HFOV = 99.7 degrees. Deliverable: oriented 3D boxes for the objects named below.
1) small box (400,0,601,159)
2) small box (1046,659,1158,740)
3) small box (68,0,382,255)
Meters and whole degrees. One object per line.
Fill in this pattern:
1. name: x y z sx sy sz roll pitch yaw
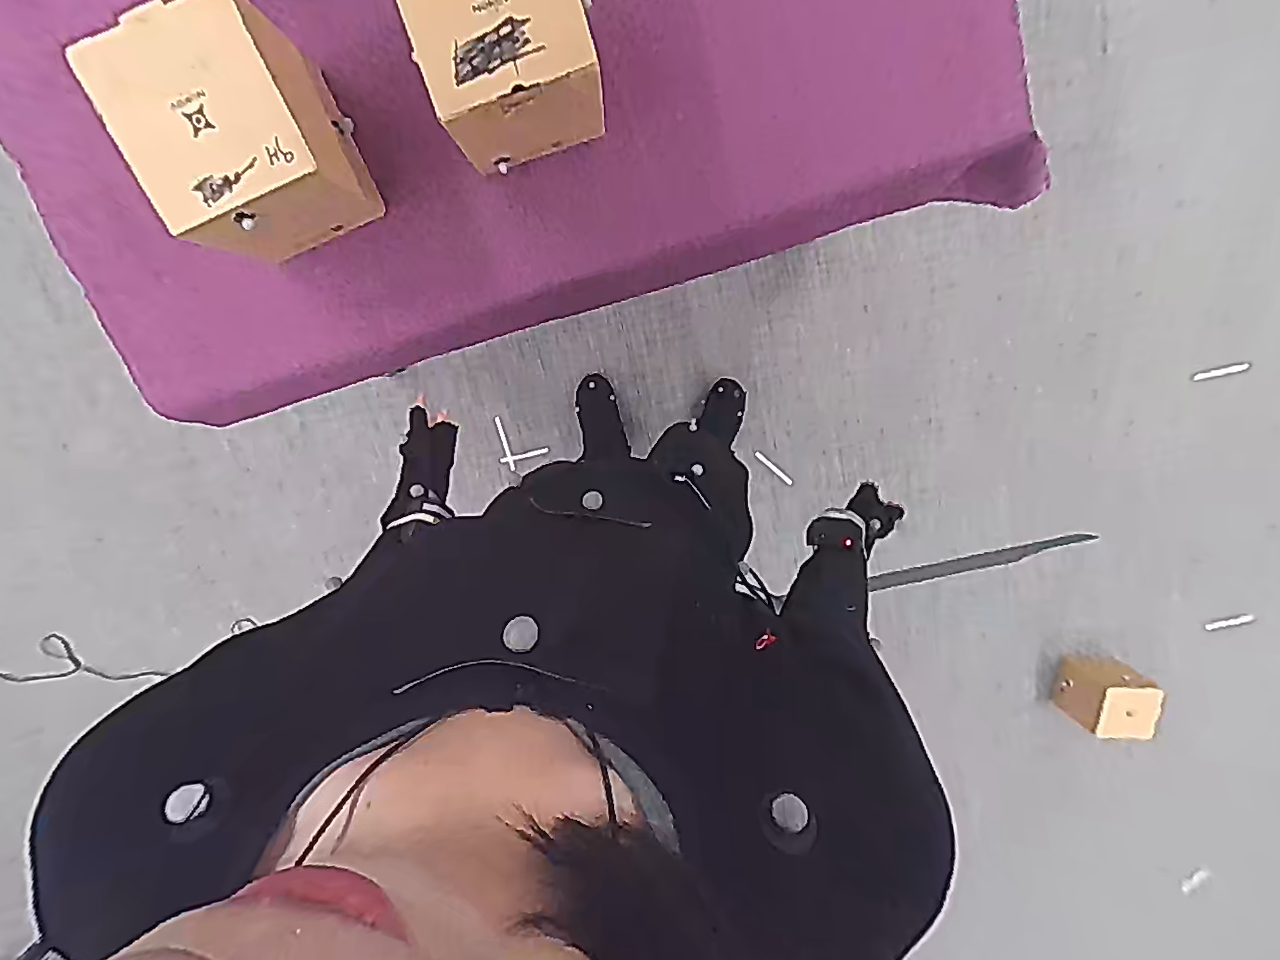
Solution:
1. small box: -0.143 -0.472 0.576 0.168 0.176 0.179 -17 102 1
2. small box: 1.399 0.663 1.647 0.179 0.176 0.168 2 101 -2
3. small box: -0.420 -0.372 0.586 0.168 0.176 0.179 -23 102 3
